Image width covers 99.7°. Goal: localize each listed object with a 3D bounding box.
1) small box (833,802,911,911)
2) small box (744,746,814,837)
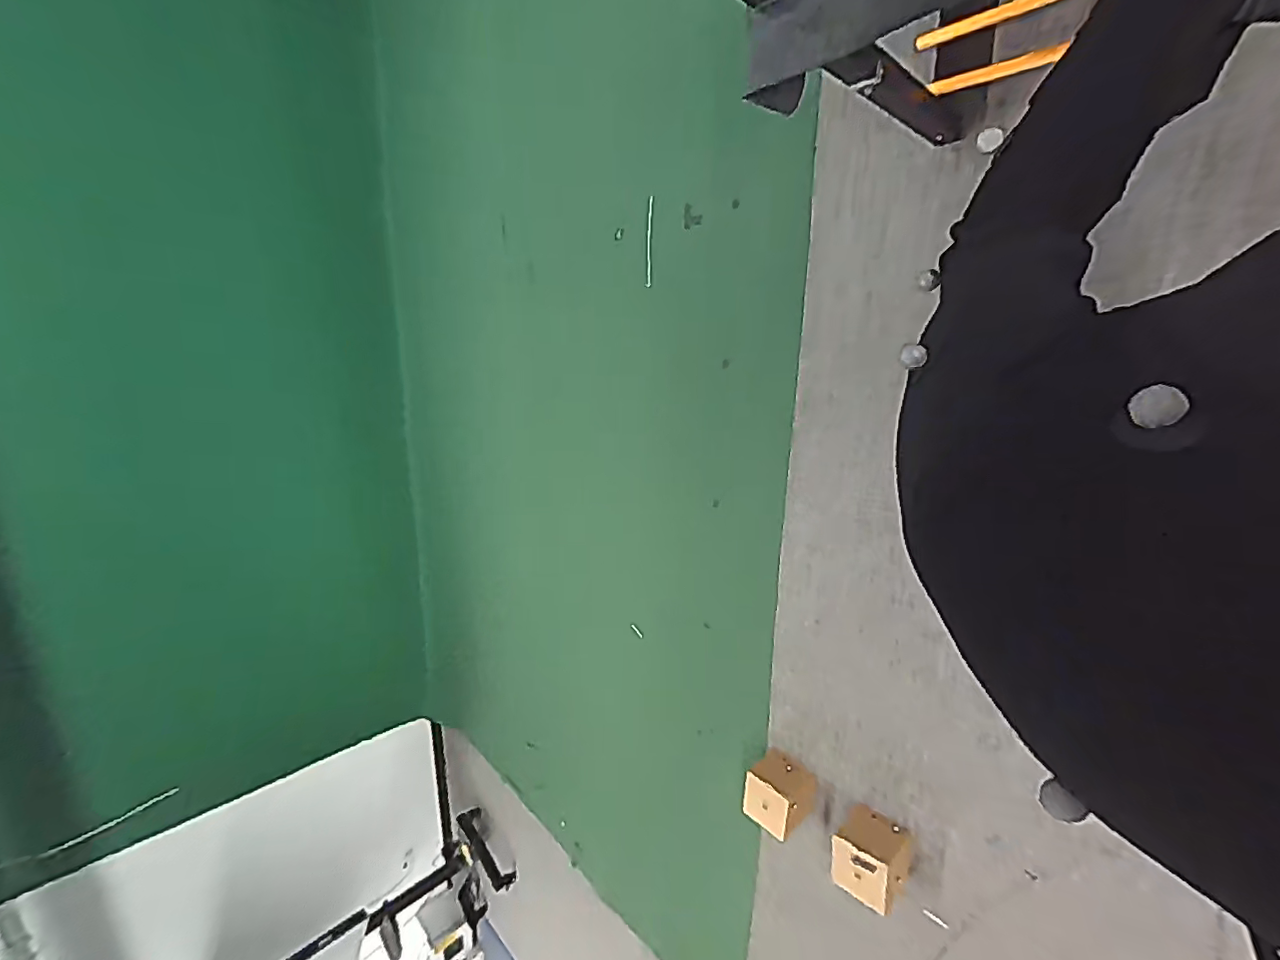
[{"bbox_3d":[0.703,1.124,1.634,0.168,0.176,0.179,10,106,46],"label":"small box"},{"bbox_3d":[0.480,1.064,1.862,0.168,0.176,0.179,16,110,43],"label":"small box"}]
